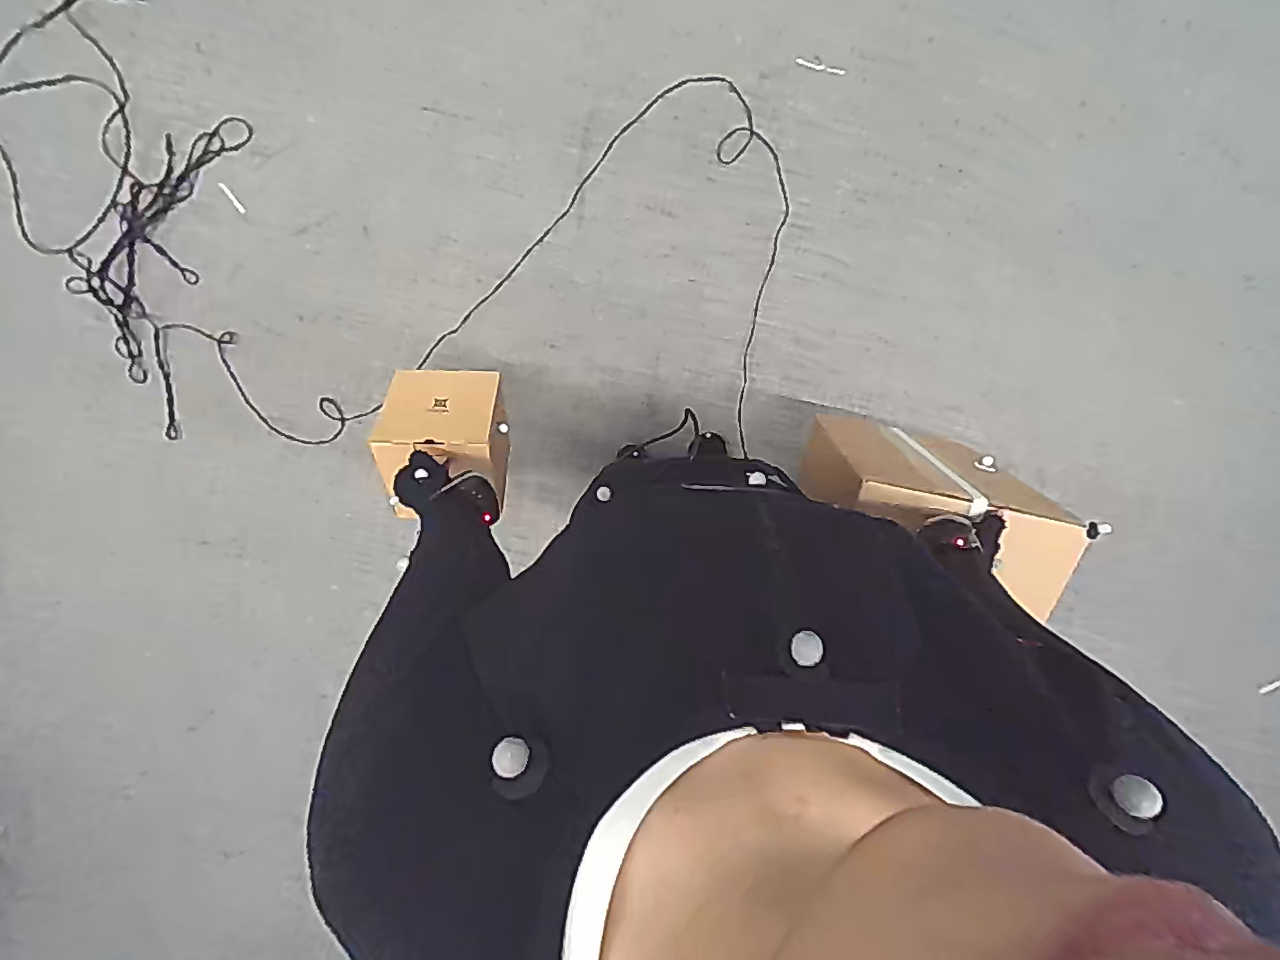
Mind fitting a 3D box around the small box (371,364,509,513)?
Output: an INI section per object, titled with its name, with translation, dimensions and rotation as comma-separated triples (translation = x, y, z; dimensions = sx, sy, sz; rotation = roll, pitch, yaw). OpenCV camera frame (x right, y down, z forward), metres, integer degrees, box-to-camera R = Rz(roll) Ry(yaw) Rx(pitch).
[small box]
translation = -0.311, -0.067, 0.886
dimensions = 0.168, 0.179, 0.176
rotation = 1, 138, -5
